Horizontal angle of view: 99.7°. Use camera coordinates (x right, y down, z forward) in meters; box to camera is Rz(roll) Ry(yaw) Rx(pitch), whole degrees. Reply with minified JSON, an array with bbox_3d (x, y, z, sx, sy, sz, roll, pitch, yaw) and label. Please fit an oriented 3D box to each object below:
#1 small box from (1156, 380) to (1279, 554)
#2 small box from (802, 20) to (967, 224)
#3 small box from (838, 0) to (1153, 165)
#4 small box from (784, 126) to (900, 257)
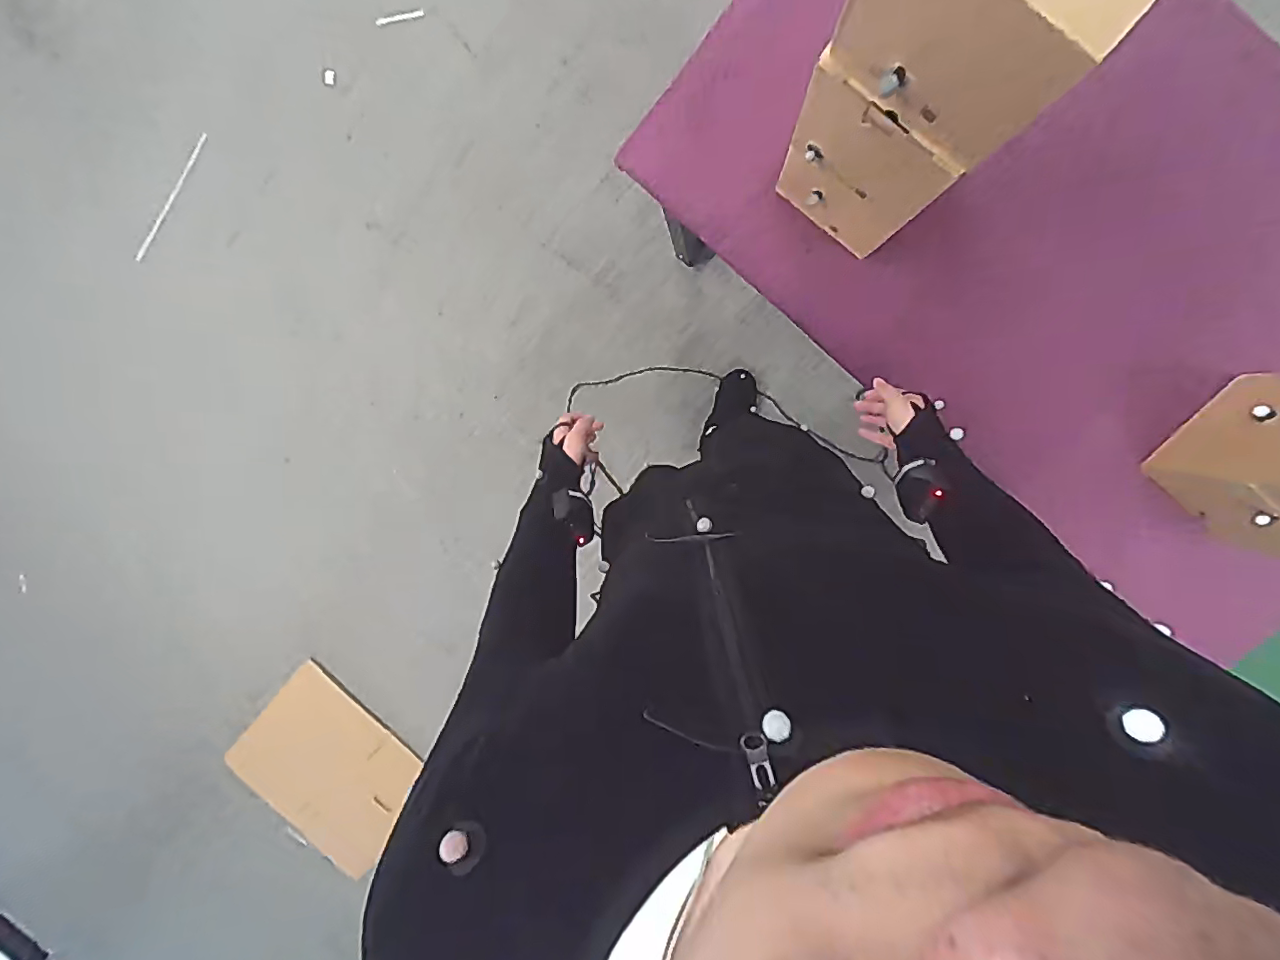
[{"bbox_3d":[0.837,-0.016,0.684,0.168,0.176,0.179,41,101,1],"label":"small box"},{"bbox_3d":[0.281,-0.392,0.533,0.168,0.176,0.179,40,101,0],"label":"small box"},{"bbox_3d":[0.266,-0.370,0.372,0.168,0.176,0.179,40,102,0],"label":"small box"},{"bbox_3d":[0.303,-0.420,0.693,0.168,0.176,0.179,39,102,0],"label":"small box"}]
